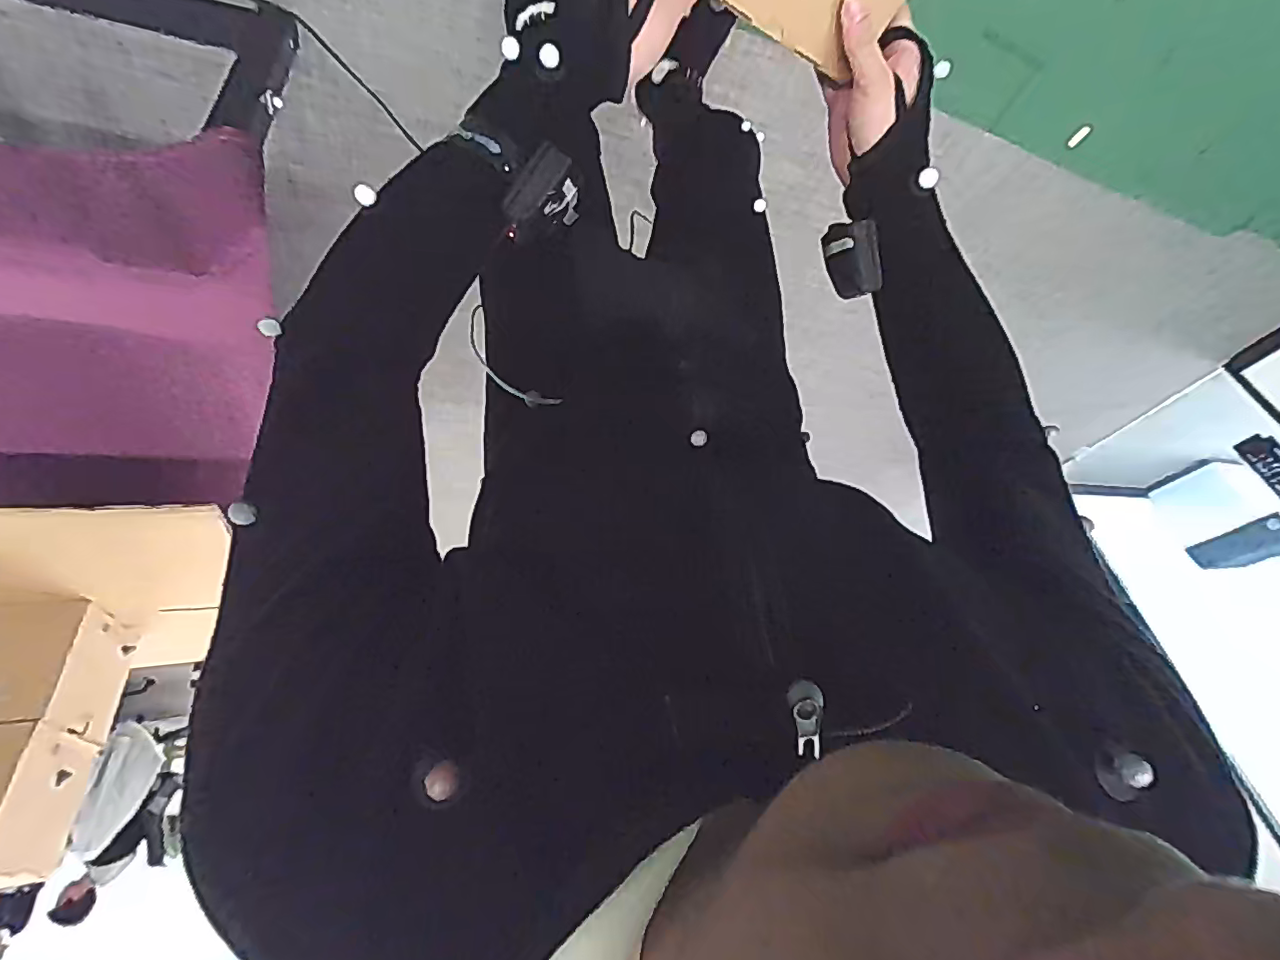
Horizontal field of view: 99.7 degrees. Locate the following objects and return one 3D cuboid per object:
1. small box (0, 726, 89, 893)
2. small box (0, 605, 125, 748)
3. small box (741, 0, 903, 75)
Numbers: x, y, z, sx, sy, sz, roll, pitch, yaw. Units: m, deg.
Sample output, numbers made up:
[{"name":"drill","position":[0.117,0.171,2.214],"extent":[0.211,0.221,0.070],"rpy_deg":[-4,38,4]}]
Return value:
[{"name":"small box","position":[-0.860,0.417,0.672],"extent":[0.179,0.176,0.168],"rpy_deg":[0,144,-19]},{"name":"small box","position":[-0.881,0.284,0.763],"extent":[0.179,0.176,0.168],"rpy_deg":[1,144,-19]},{"name":"small box","position":[0.124,-0.452,0.385],"extent":[0.168,0.176,0.179],"rpy_deg":[5,143,-30]}]
